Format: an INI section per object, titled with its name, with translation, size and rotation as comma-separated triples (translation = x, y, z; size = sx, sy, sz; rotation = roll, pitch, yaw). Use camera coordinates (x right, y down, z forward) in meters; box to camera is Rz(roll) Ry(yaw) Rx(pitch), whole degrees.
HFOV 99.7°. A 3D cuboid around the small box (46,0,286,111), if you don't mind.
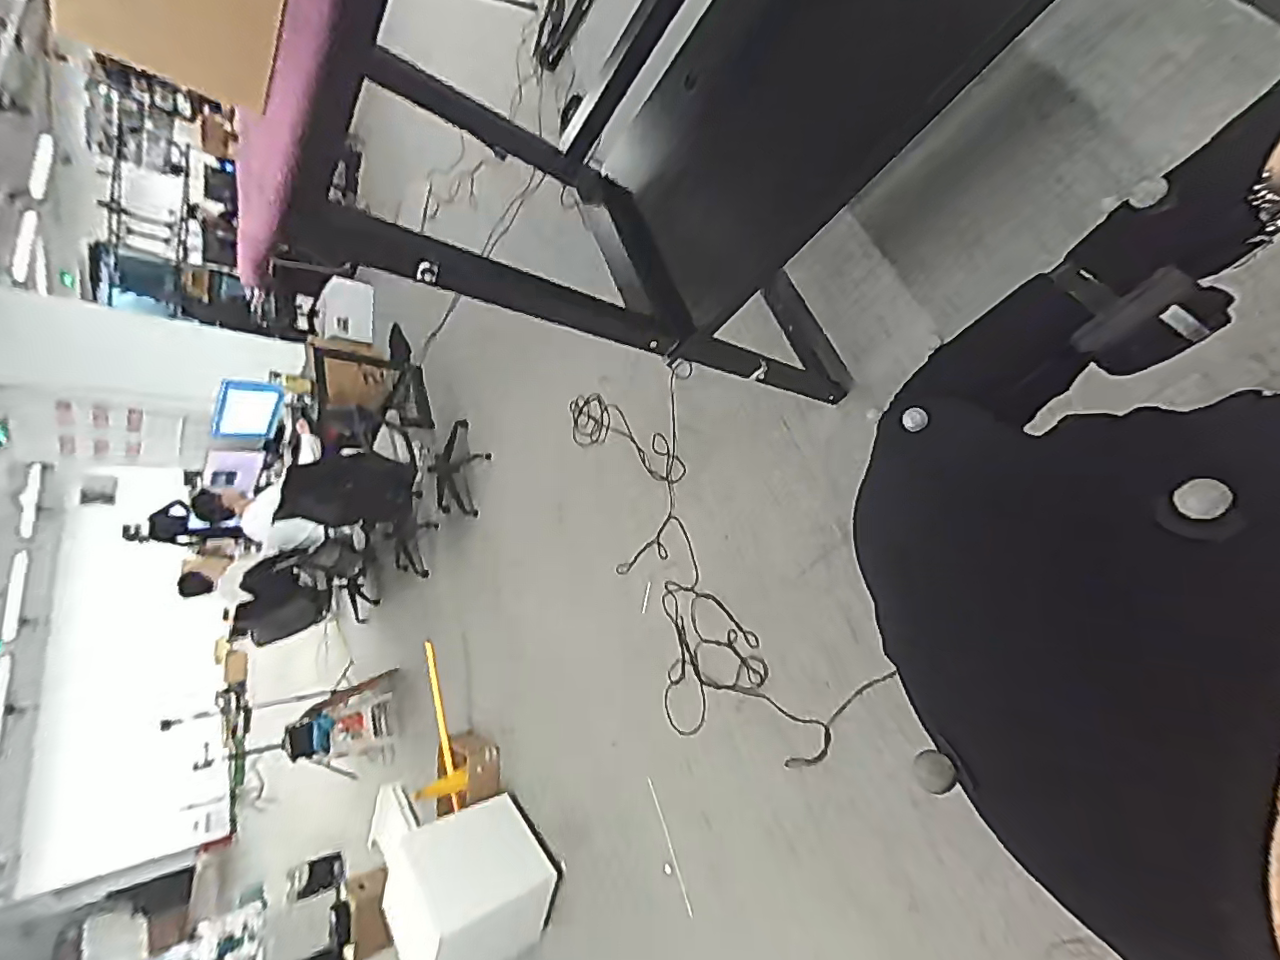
[small box]
translation = -0.460, -0.522, 0.536
size = 0.179, 0.176, 0.168
rotation = -41, 60, 37
